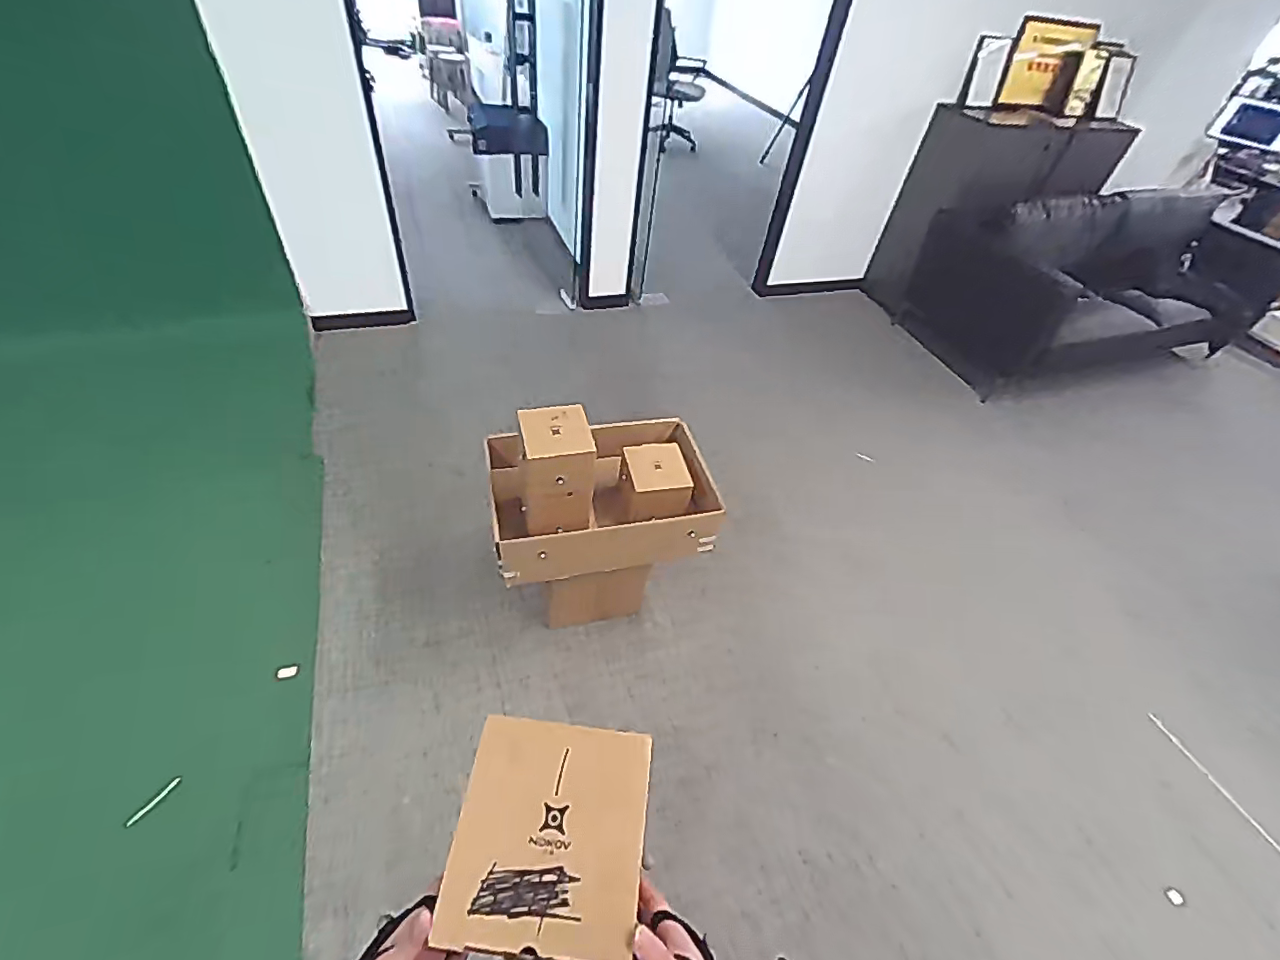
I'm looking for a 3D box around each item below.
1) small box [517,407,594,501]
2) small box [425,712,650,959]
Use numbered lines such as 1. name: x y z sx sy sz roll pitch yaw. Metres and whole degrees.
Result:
1. small box: -0.216 -0.061 1.374 0.168 0.176 0.179 -7 50 -16
2. small box: -0.085 0.356 0.541 0.168 0.176 0.179 8 52 2
